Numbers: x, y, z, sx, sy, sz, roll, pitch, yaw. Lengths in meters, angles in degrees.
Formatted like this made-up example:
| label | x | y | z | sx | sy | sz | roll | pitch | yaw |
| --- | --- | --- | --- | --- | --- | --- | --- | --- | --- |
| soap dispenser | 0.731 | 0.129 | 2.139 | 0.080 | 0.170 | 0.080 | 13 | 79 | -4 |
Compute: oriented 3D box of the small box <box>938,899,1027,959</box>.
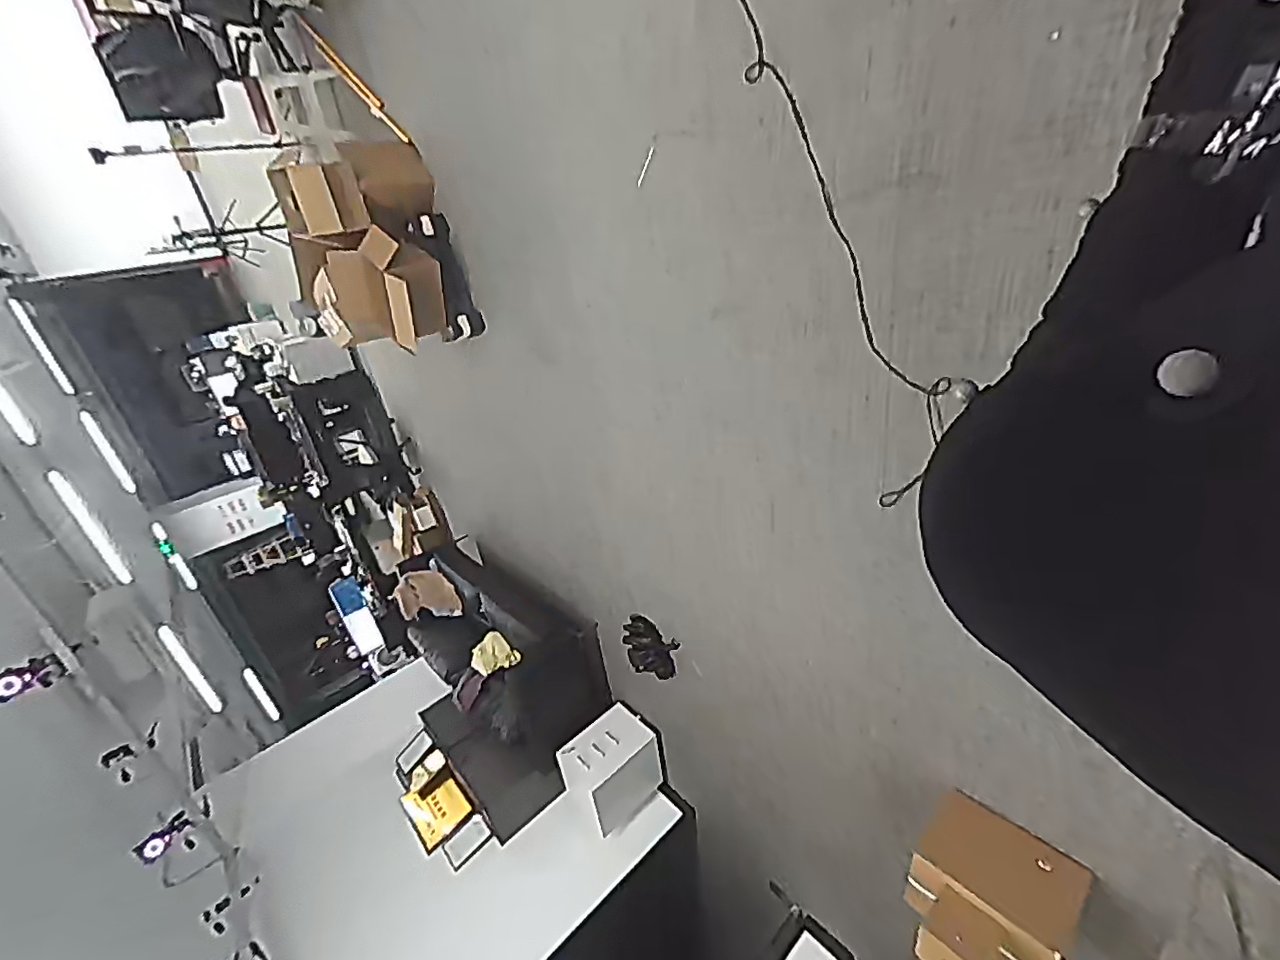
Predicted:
| label | x | y | z | sx | sy | sz | roll | pitch | yaw |
| --- | --- | --- | --- | --- | --- | --- | --- | --- | --- |
| small box | 1.010 | 1.407 | 1.597 | 0.179 | 0.176 | 0.168 | 21 | 128 | 48 |
